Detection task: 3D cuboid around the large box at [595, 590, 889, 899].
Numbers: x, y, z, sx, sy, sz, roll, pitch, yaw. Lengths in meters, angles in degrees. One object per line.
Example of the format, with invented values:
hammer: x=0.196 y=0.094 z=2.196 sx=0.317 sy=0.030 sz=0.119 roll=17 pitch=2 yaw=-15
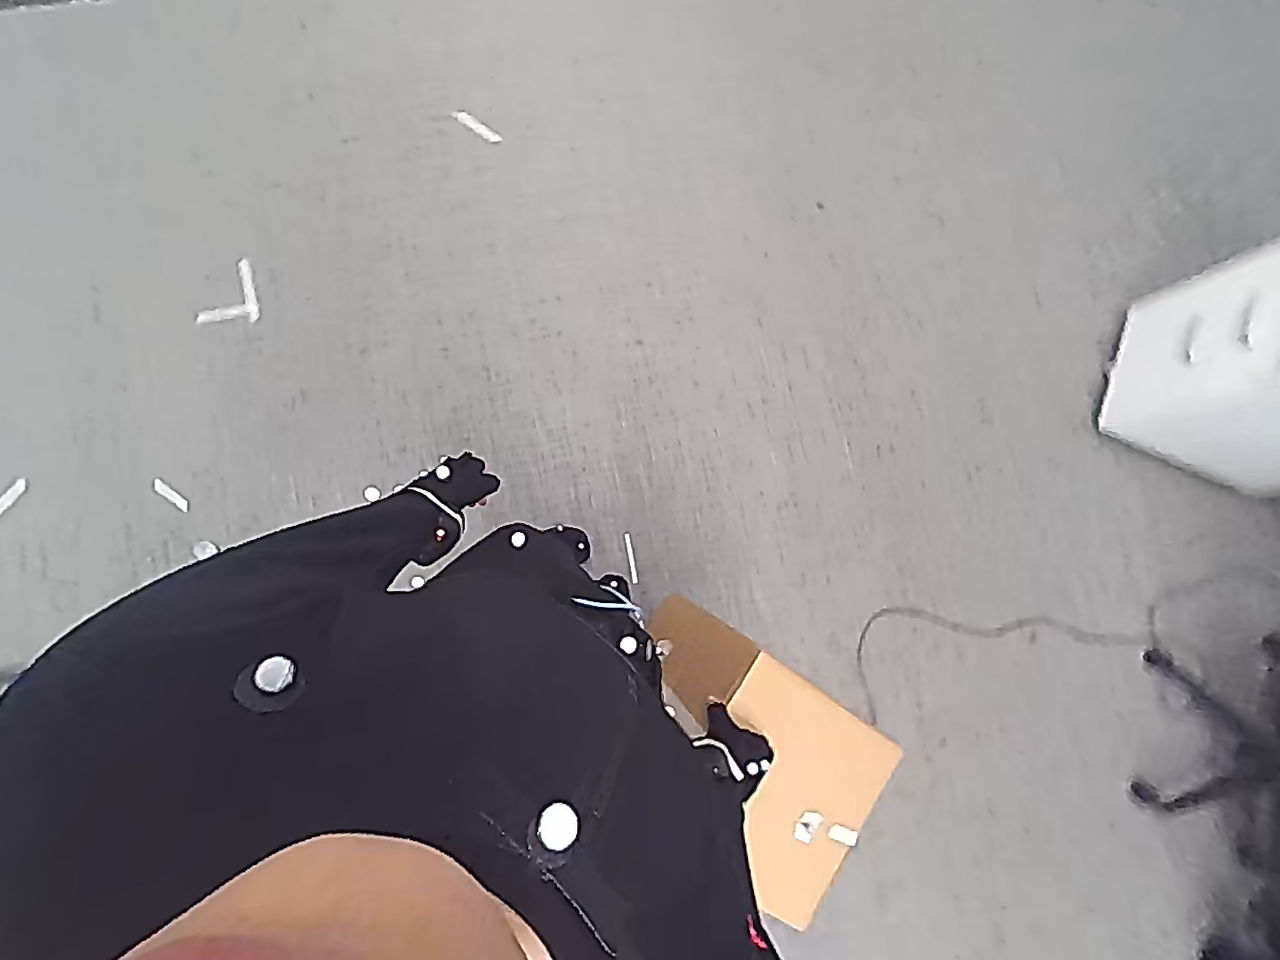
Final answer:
large box: x=0.160 y=0.446 z=1.007 sx=0.320 sy=0.408 sz=0.320 roll=36 pitch=81 yaw=-13
